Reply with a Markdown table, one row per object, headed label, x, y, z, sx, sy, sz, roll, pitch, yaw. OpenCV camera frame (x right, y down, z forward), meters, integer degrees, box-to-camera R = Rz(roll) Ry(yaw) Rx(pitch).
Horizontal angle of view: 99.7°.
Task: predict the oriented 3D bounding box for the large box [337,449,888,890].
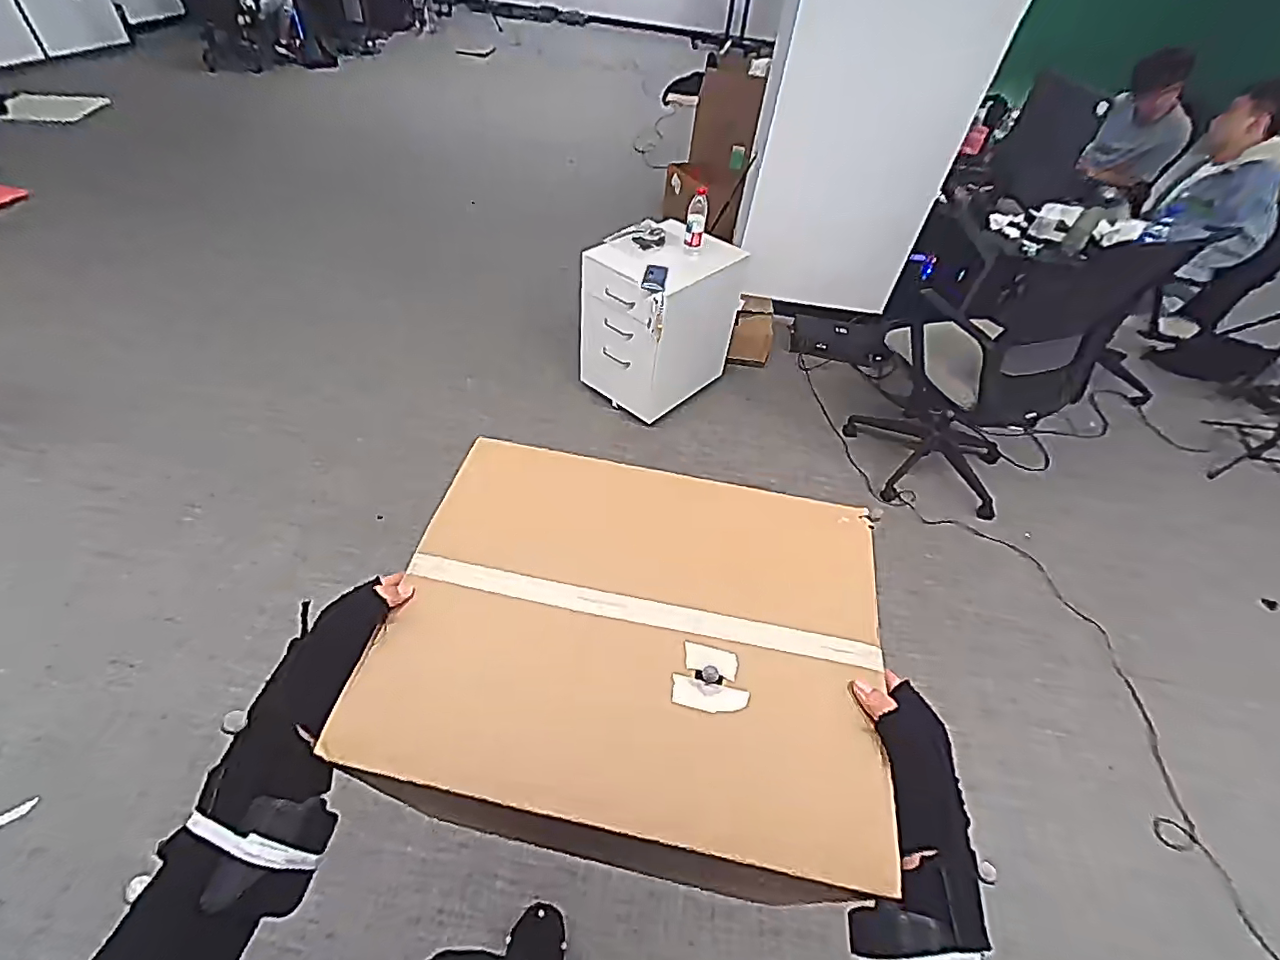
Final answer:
| label | x | y | z | sx | sy | sz | roll | pitch | yaw |
| --- | --- | --- | --- | --- | --- | --- | --- | --- | --- |
| large box | -0.010 | 0.208 | 0.583 | 0.408 | 0.320 | 0.320 | 11 | 53 | 4 |
